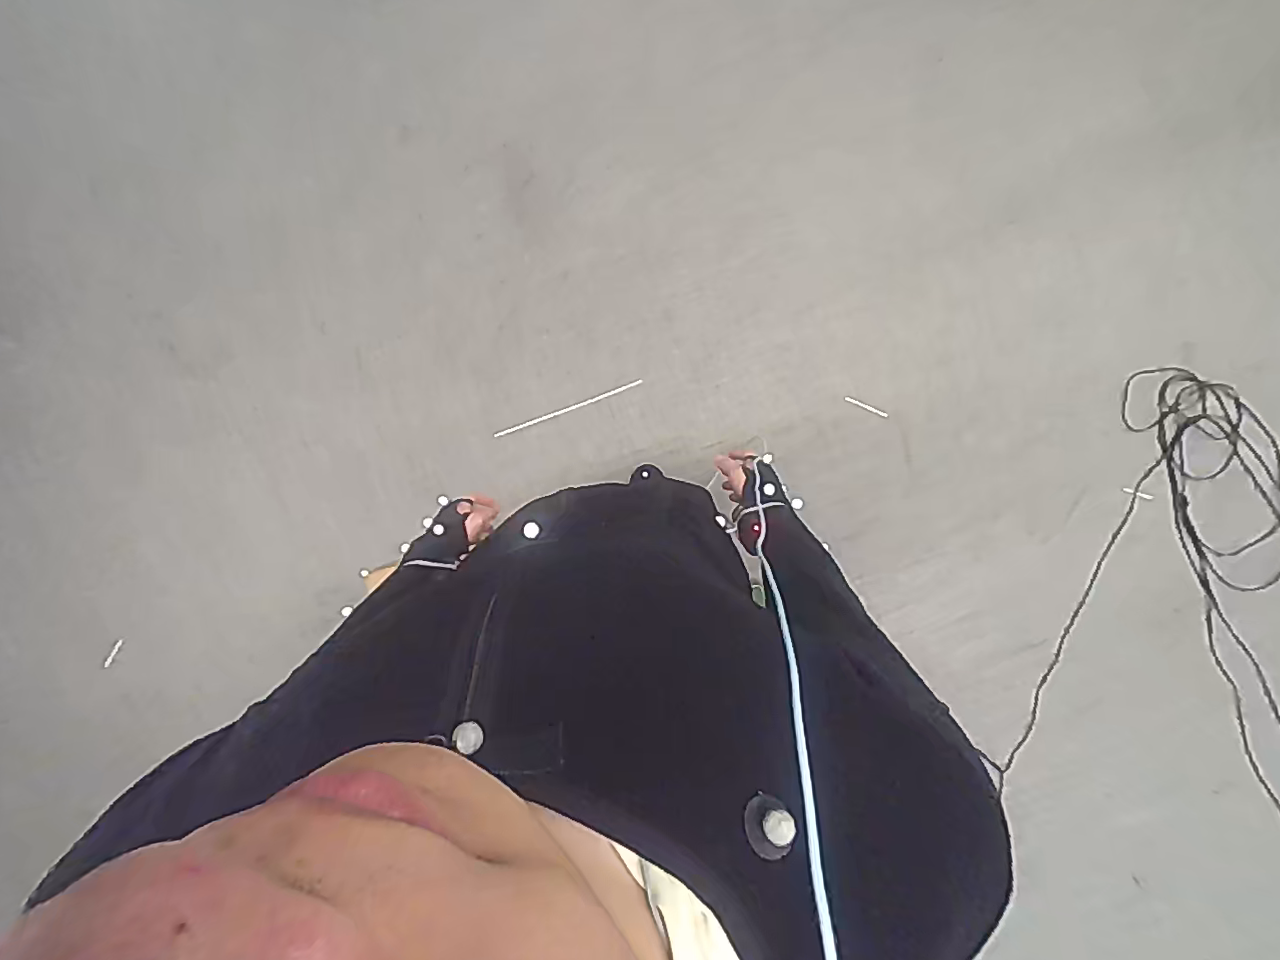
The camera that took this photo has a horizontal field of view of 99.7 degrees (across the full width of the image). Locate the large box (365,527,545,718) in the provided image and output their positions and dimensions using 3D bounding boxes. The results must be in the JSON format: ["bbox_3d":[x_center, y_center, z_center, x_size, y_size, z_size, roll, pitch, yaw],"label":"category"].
[{"bbox_3d":[-0.492,0.375,1.515,0.320,0.320,0.408,-17,91,-1],"label":"large box"}]
